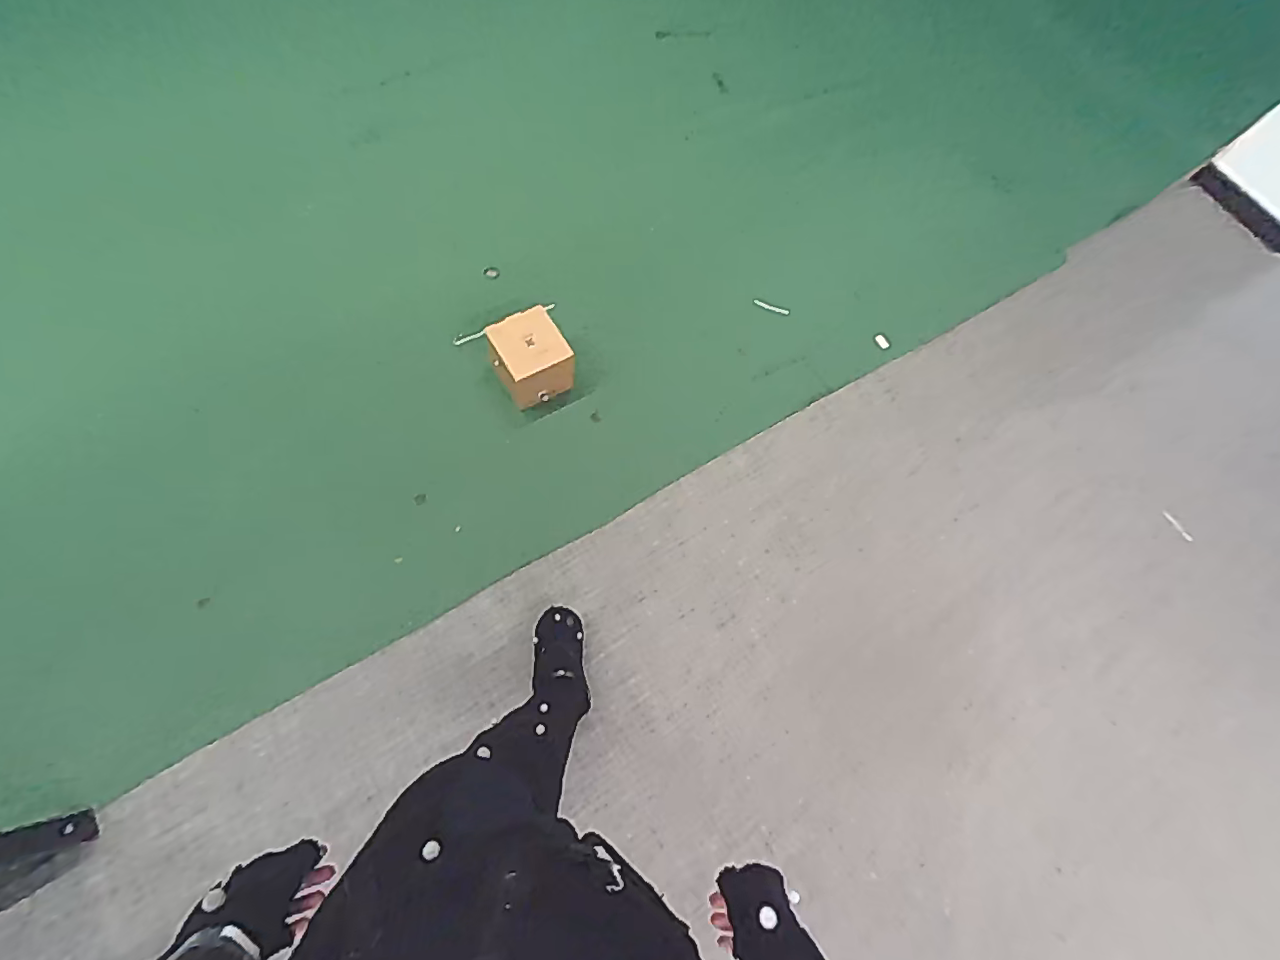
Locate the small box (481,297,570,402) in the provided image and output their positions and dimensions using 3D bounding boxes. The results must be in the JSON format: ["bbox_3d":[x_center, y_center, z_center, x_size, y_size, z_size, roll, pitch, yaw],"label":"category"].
[{"bbox_3d":[-0.295,-0.337,1.417,0.168,0.176,0.179,-28,76,-15],"label":"small box"}]
